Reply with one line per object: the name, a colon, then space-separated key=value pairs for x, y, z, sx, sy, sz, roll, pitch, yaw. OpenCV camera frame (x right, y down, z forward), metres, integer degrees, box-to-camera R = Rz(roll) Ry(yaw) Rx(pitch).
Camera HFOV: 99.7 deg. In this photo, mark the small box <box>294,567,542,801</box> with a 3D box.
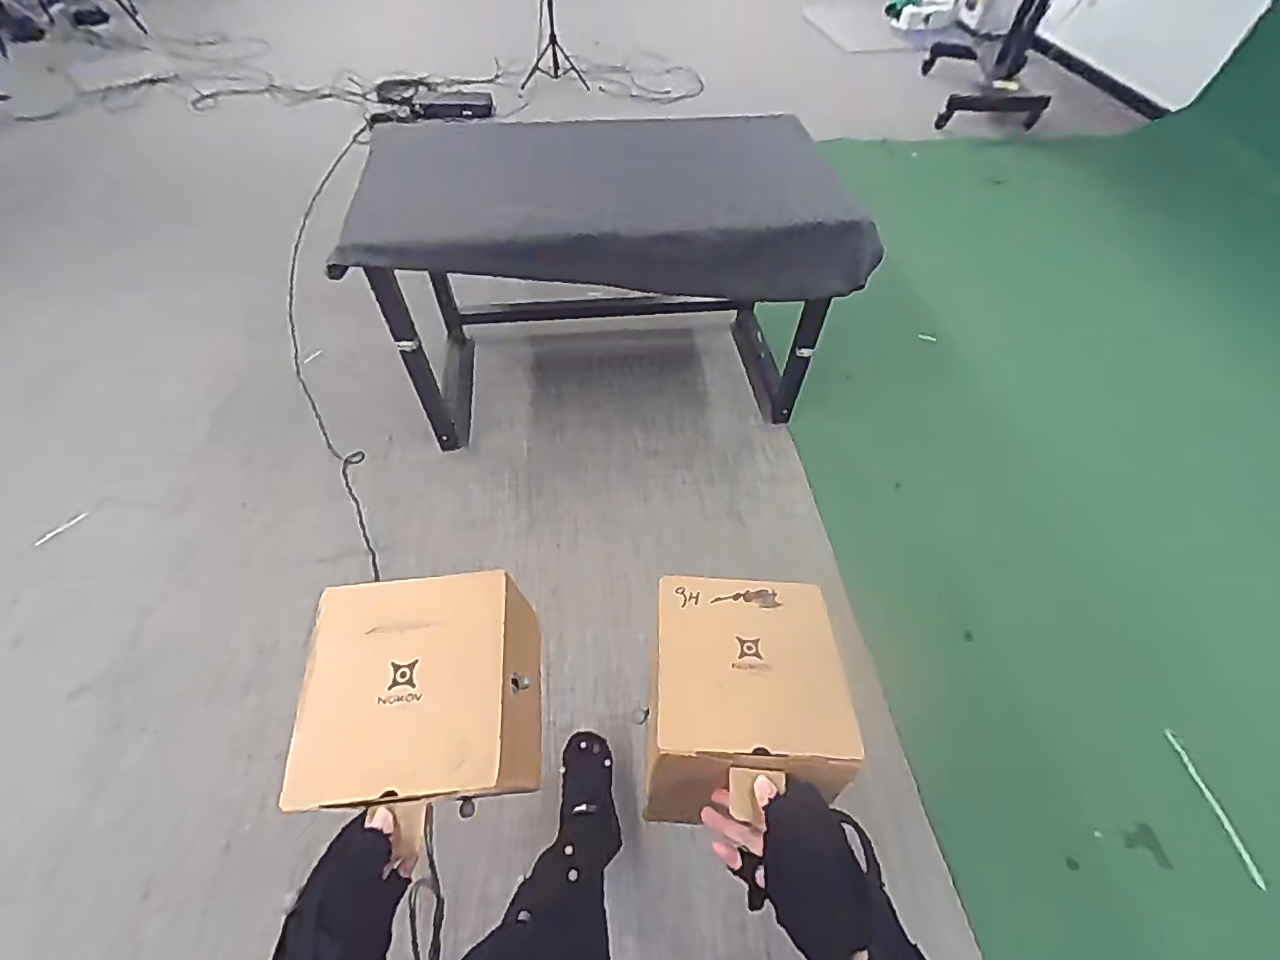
small box: x=-0.192 y=0.202 z=0.528 sx=0.168 sy=0.176 sz=0.179 roll=-6 pitch=60 yaw=-1
